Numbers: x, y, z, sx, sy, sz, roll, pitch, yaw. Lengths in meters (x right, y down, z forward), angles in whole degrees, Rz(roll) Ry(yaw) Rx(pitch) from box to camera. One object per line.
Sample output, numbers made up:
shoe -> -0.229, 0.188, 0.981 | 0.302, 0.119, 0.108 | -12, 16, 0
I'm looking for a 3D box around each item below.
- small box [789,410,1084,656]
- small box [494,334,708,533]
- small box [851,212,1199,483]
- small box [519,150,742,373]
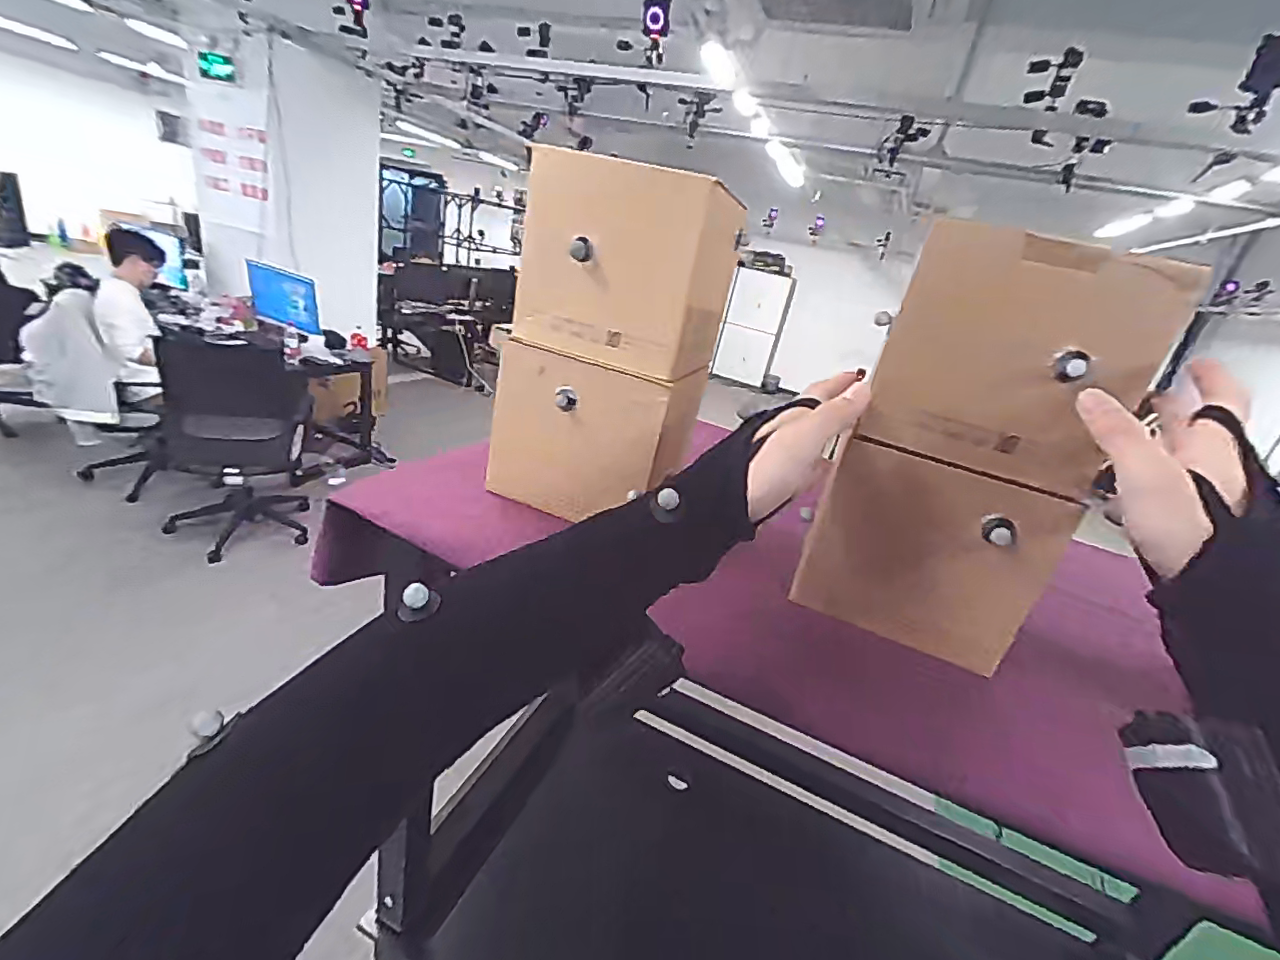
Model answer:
small box -> 0.261, 0.038, 0.516 | 0.179, 0.176, 0.168 | 19, 23, 18
small box -> -0.044, -0.062, 0.602 | 0.179, 0.176, 0.168 | 19, 24, 14
small box -> 0.291, -0.112, 0.459 | 0.168, 0.176, 0.179 | 20, 23, 18
small box -> -0.009, -0.210, 0.546 | 0.168, 0.176, 0.179 | 18, 22, 14
